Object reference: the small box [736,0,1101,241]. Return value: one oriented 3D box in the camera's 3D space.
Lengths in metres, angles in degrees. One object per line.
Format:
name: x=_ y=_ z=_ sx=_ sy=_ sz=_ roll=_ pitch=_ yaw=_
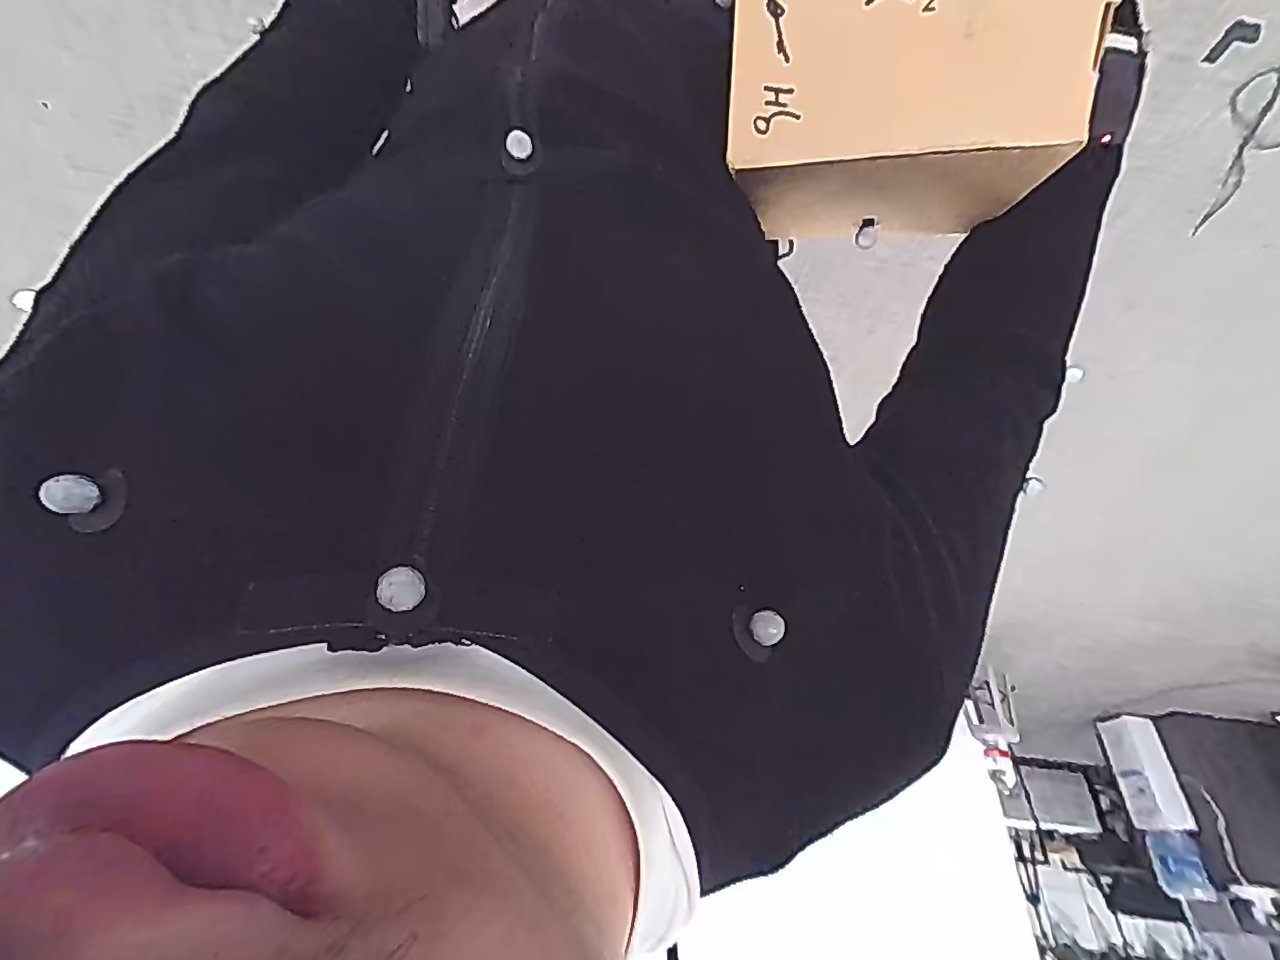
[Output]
small box: x=0.165 y=-0.266 z=0.360 sx=0.179 sy=0.176 sz=0.168 roll=5 pitch=101 yaw=16
